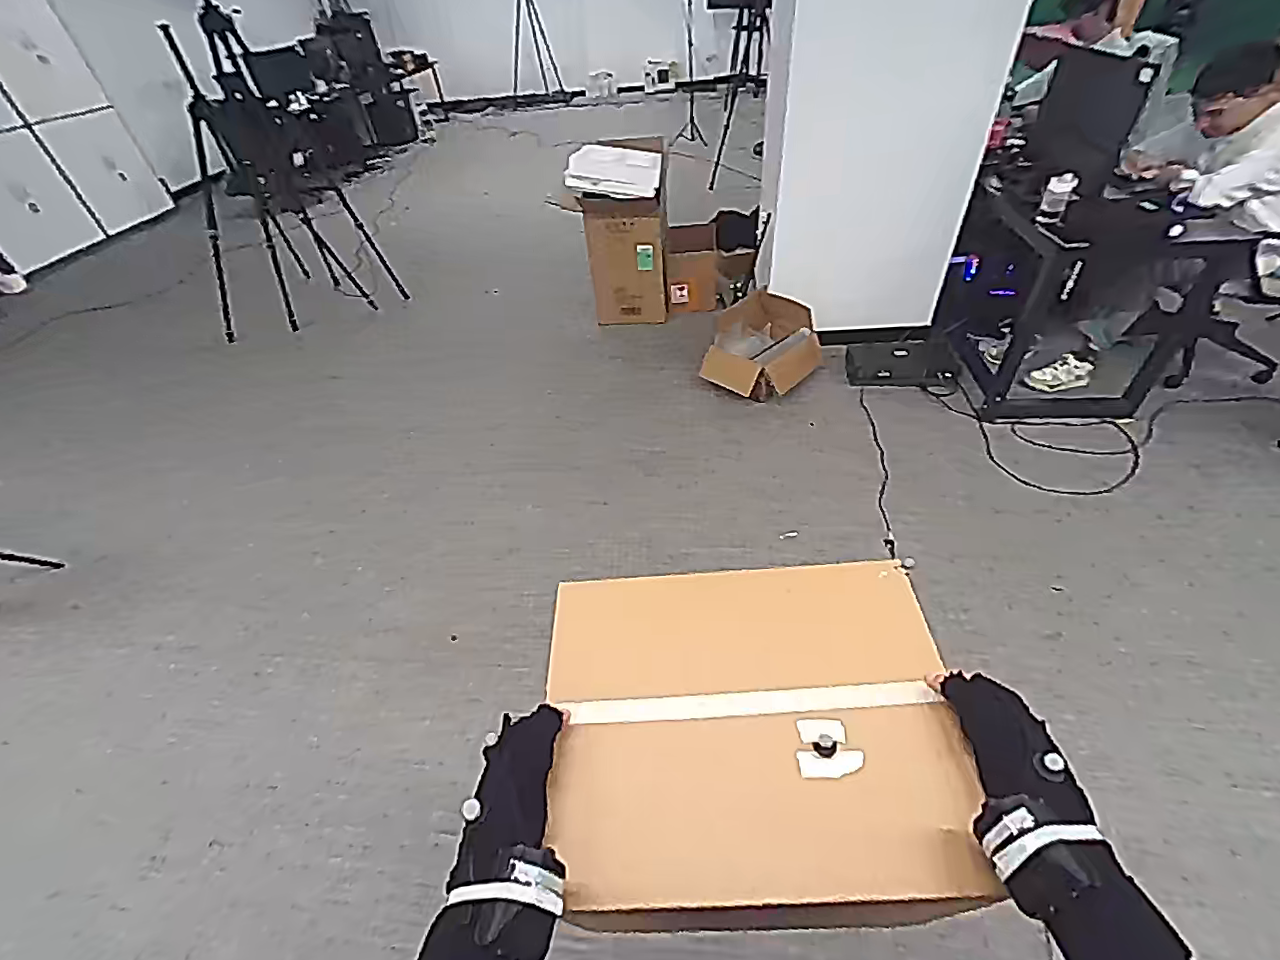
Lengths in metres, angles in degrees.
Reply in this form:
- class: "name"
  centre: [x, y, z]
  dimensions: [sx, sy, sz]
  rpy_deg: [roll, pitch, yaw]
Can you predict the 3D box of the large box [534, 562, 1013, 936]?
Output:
- class: "large box"
  centre: [0.114, 0.327, 0.651]
  dimensions: [0.408, 0.320, 0.320]
  rpy_deg: [-5, 47, 3]
